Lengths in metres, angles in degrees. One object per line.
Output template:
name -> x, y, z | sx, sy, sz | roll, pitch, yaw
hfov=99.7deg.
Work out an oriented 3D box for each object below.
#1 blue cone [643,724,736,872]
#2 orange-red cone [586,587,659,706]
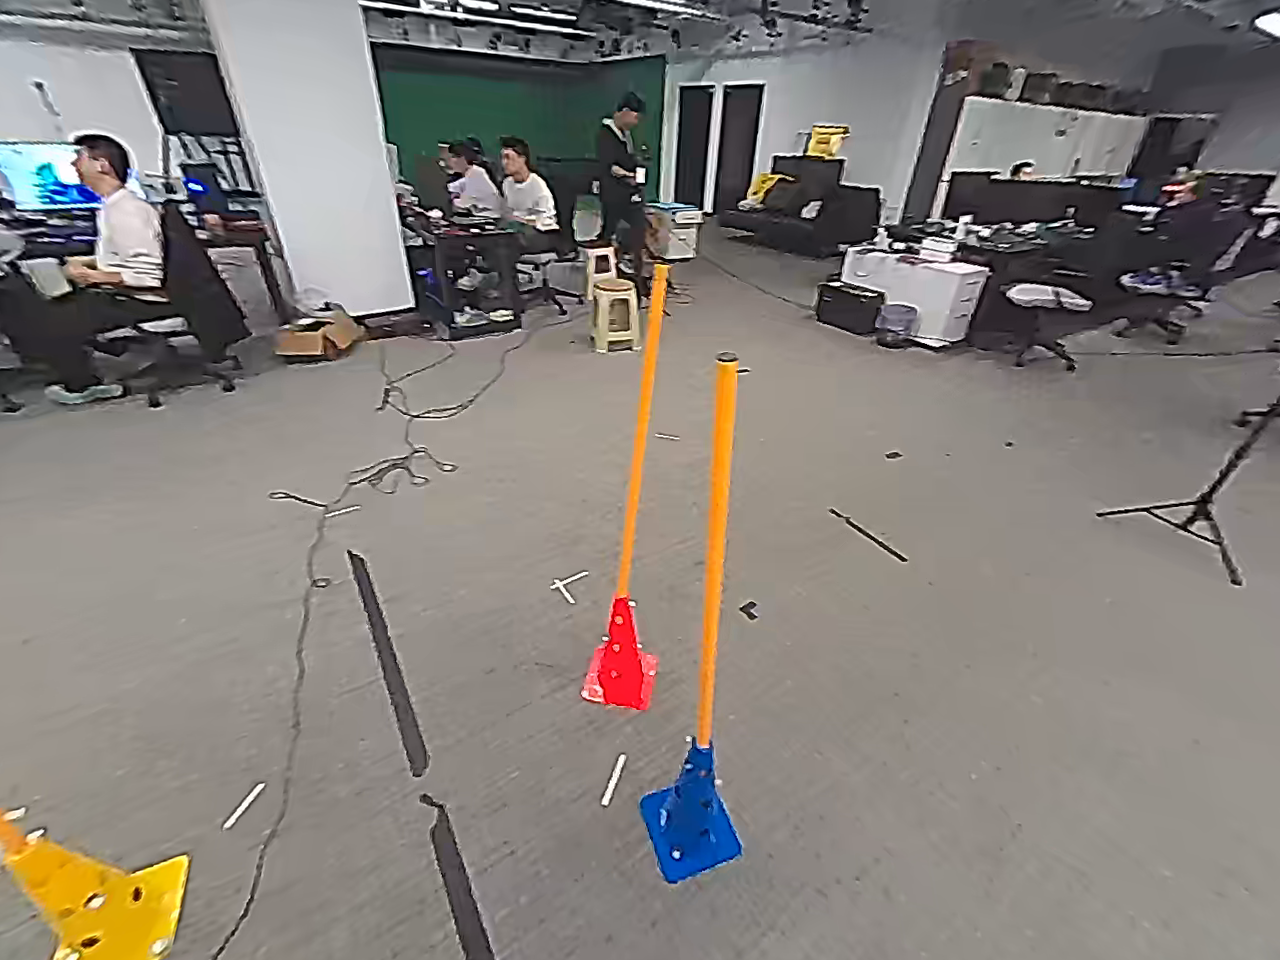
blue cone -> 0.124, 0.688, 1.219 | 0.193, 0.380, 0.192 | -9, 34, -16
orange-red cone -> -0.047, 0.449, 1.552 | 0.198, 0.360, 0.199 | 8, 35, 10
